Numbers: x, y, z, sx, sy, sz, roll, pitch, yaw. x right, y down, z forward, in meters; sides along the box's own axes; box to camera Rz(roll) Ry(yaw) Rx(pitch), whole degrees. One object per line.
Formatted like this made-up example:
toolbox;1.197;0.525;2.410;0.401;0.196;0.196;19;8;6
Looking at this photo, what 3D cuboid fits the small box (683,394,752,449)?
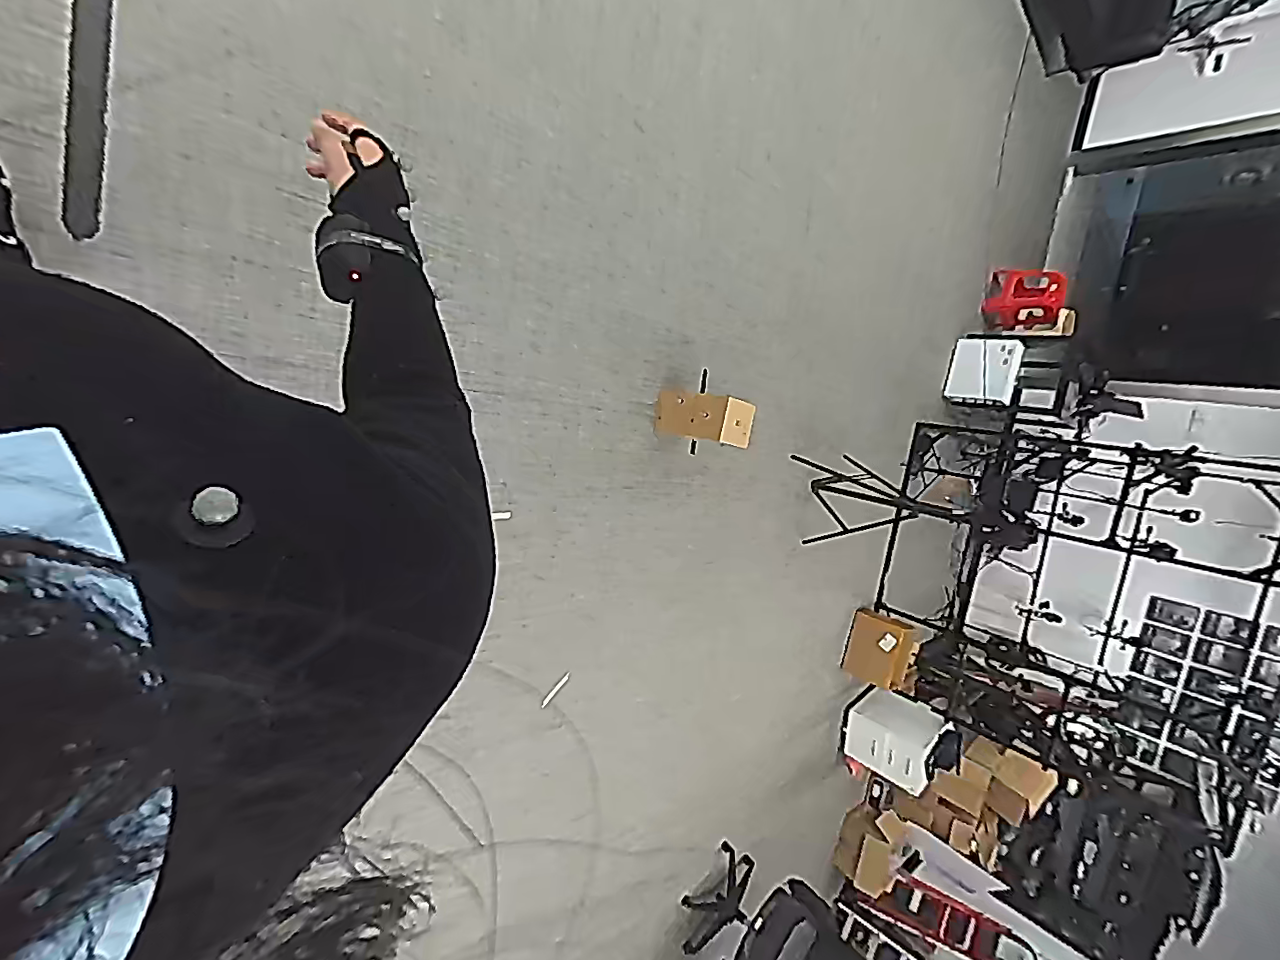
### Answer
small box;0.285;-0.220;2.016;0.179;0.176;0.168;8;96;-46
